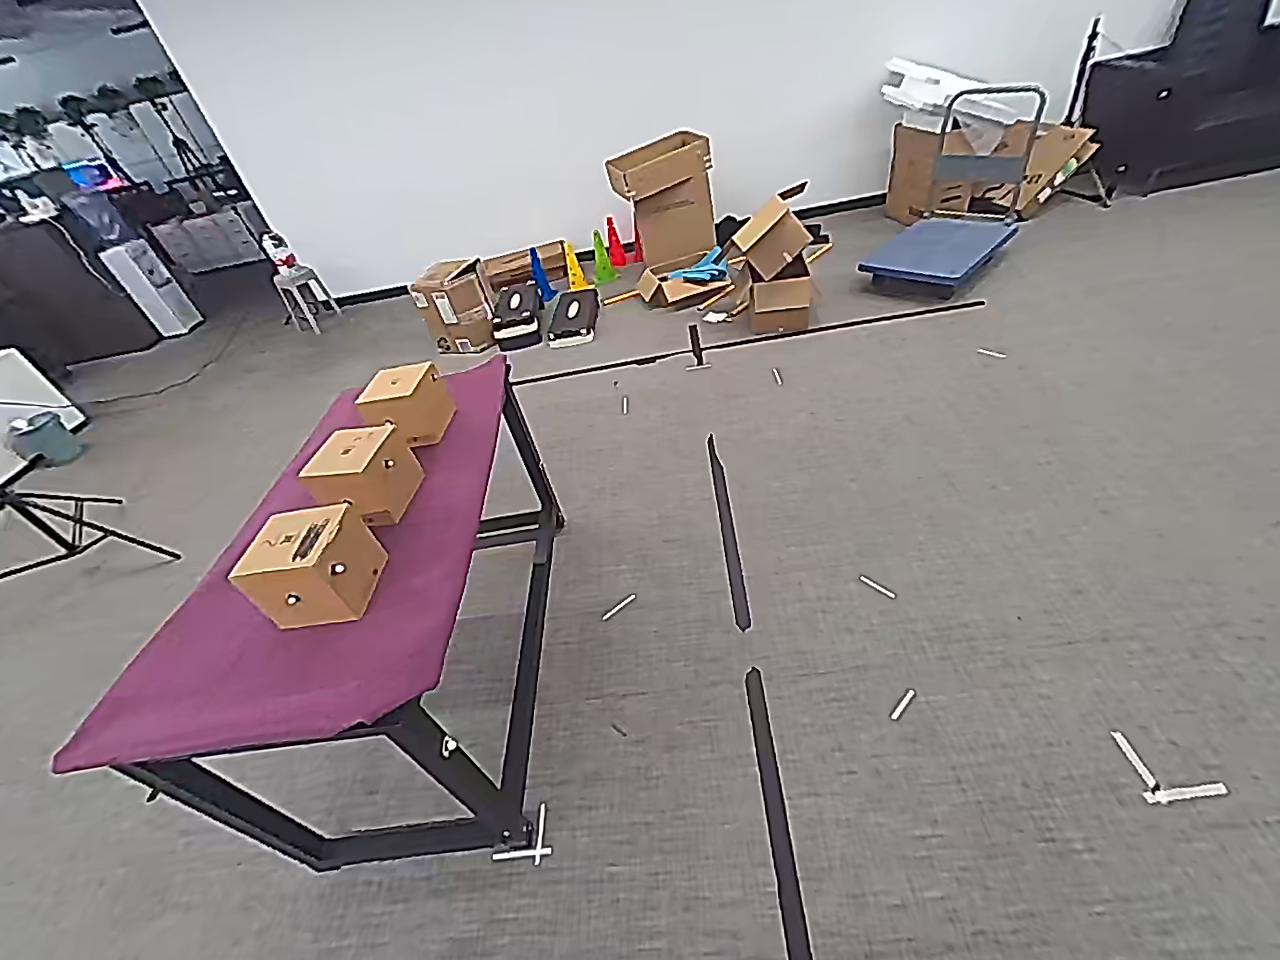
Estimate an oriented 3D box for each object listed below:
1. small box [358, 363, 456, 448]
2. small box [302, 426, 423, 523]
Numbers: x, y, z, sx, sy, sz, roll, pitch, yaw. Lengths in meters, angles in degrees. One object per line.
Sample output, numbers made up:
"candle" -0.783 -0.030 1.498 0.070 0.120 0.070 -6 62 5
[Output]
"small box" -0.645 -0.204 1.524 0.168 0.176 0.179 -8 40 9
"small box" -0.651 -0.008 1.297 0.168 0.176 0.179 -3 41 11
